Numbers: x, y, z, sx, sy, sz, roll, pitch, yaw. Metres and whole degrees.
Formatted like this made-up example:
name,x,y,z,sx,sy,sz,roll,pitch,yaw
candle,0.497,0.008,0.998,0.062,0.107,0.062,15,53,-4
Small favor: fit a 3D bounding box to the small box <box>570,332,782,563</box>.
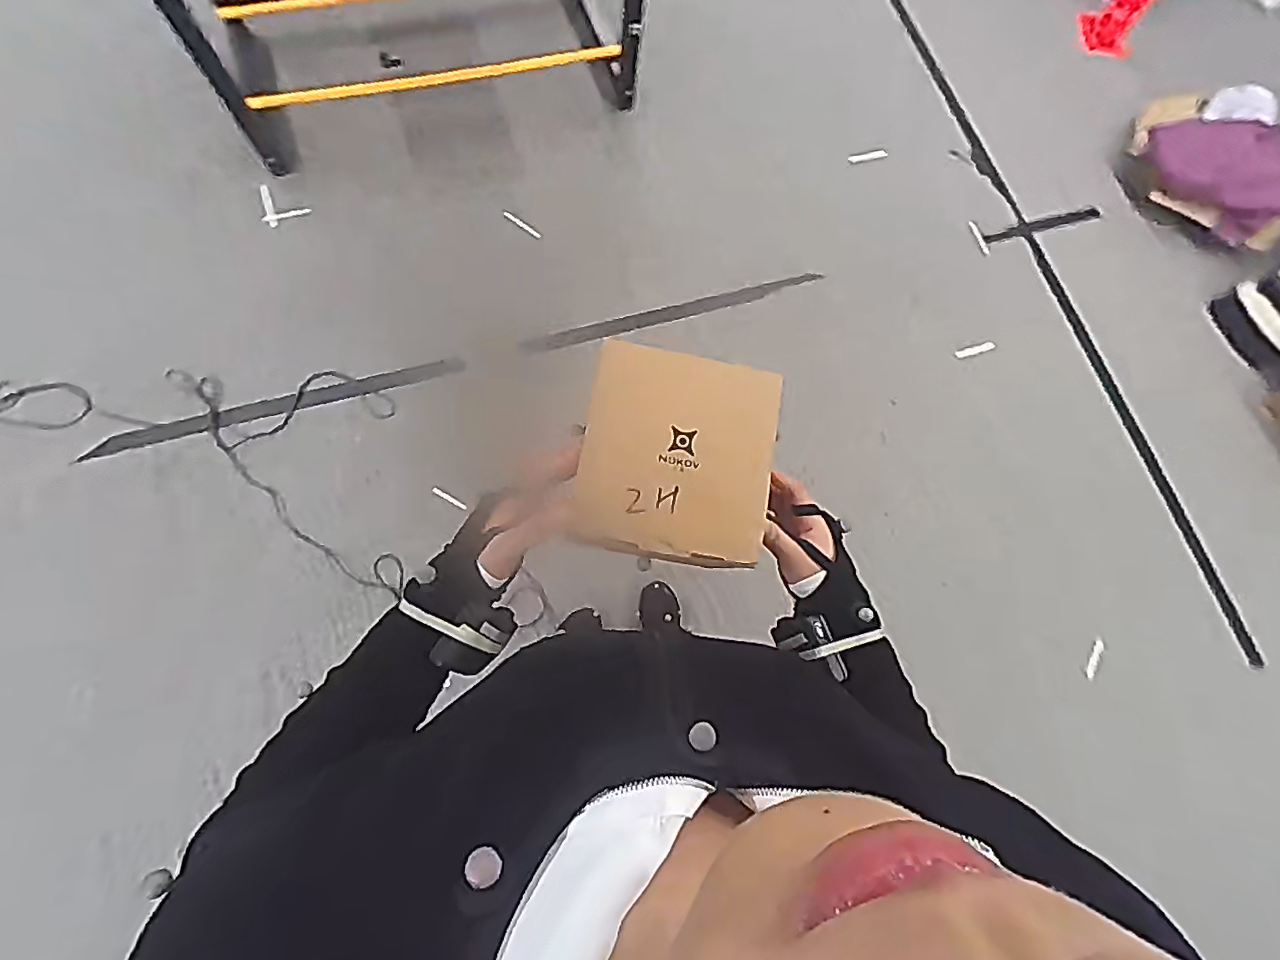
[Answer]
name,x,y,z,sx,sy,sz,roll,pitch,yaw
small box,0.025,-0.018,0.535,0.168,0.176,0.179,9,79,-4
